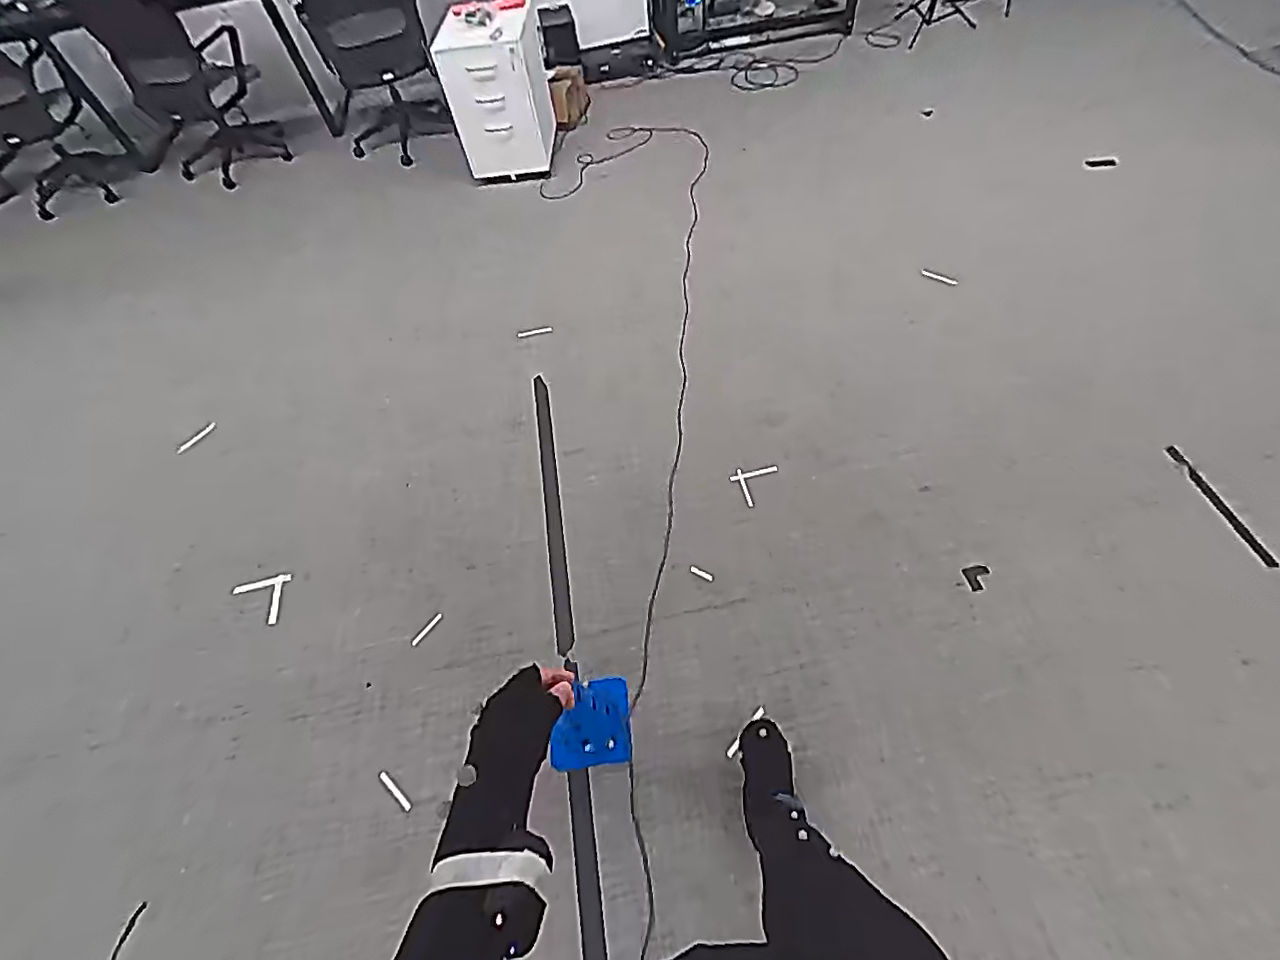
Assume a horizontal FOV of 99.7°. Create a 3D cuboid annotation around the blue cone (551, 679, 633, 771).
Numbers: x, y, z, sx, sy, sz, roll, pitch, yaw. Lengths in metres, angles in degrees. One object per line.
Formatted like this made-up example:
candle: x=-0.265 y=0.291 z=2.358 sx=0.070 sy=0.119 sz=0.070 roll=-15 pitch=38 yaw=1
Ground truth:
blue cone: x=-0.136 y=0.501 z=1.186 sx=0.193 sy=0.380 sz=0.192 roll=-9 pitch=55 yaw=0
